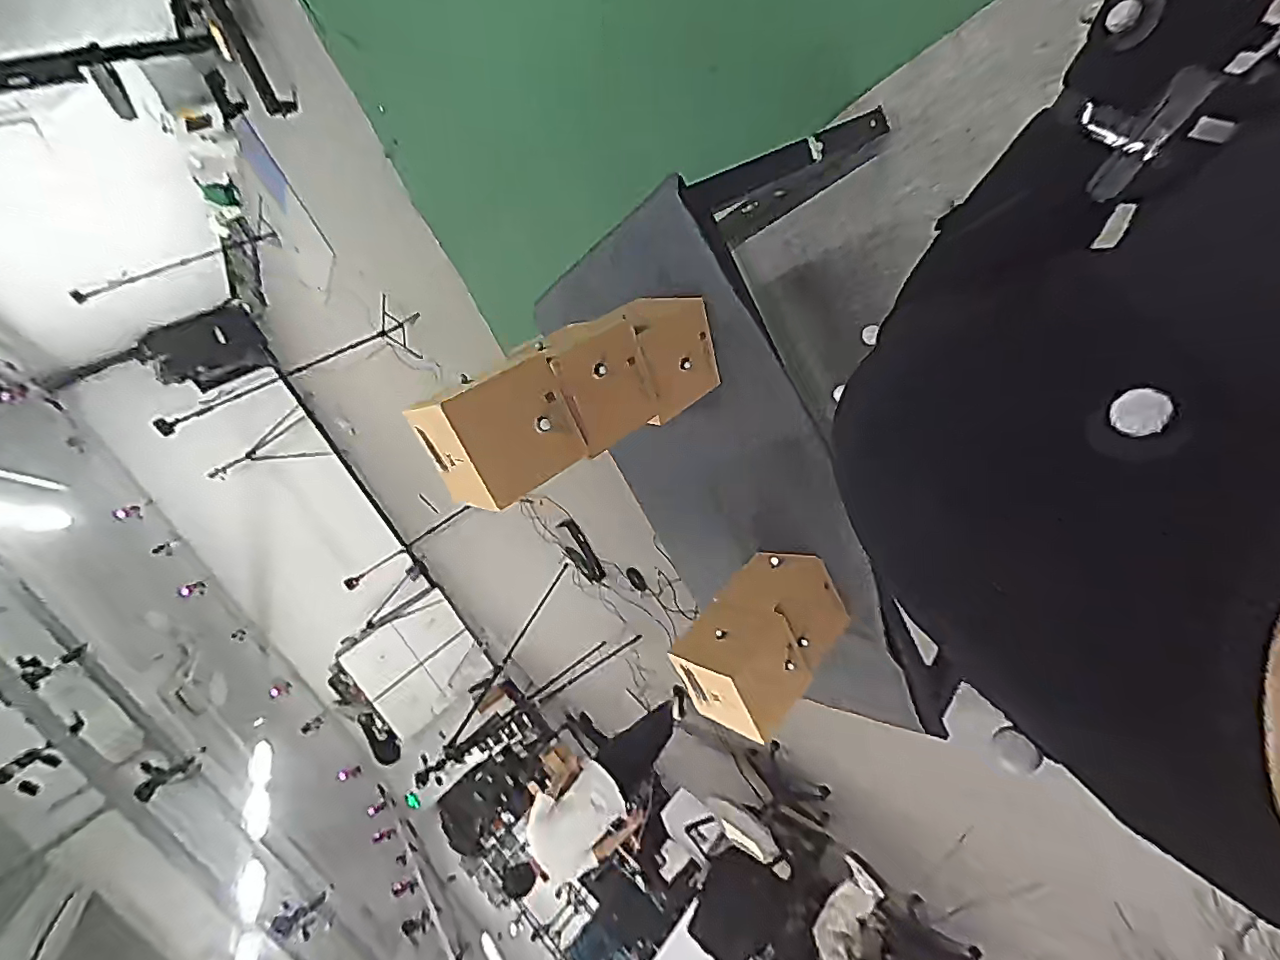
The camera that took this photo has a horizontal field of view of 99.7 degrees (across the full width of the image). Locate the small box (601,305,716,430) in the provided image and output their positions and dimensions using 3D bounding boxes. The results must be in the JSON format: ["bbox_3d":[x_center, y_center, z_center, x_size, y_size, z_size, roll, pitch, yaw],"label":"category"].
[{"bbox_3d":[0.023,-0.213,0.989,0.179,0.176,0.168,20,136,46],"label":"small box"}]

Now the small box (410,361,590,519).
[{"bbox_3d":[-0.206,-0.064,0.807,0.179,0.176,0.168,5,126,52],"label":"small box"}]

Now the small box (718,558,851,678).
[{"bbox_3d":[0.303,0.278,1.134,0.179,0.176,0.168,-8,116,57],"label":"small box"}]

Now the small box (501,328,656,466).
[{"bbox_3d":[-0.092,-0.144,0.896,0.179,0.176,0.168,14,132,49],"label":"small box"}]
